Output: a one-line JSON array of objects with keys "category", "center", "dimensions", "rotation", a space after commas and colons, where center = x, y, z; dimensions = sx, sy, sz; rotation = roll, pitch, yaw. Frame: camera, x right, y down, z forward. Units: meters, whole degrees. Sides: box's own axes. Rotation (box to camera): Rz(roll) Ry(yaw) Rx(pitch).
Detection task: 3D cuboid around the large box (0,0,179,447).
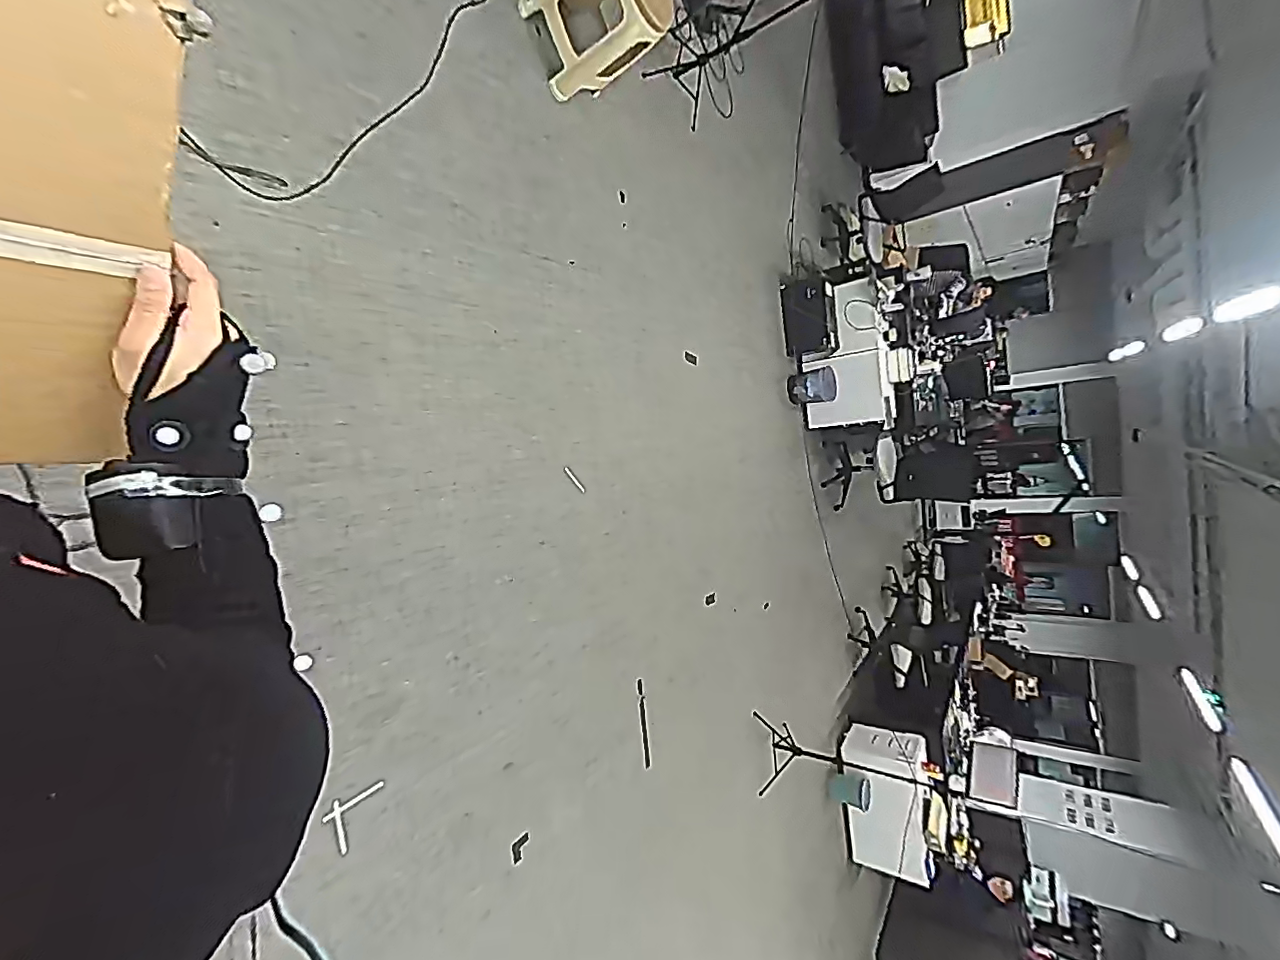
[{"category": "large box", "center": [-0.549, -0.222, 0.284], "dimensions": [0.408, 0.320, 0.320], "rotation": [-7, 132, -52]}]
